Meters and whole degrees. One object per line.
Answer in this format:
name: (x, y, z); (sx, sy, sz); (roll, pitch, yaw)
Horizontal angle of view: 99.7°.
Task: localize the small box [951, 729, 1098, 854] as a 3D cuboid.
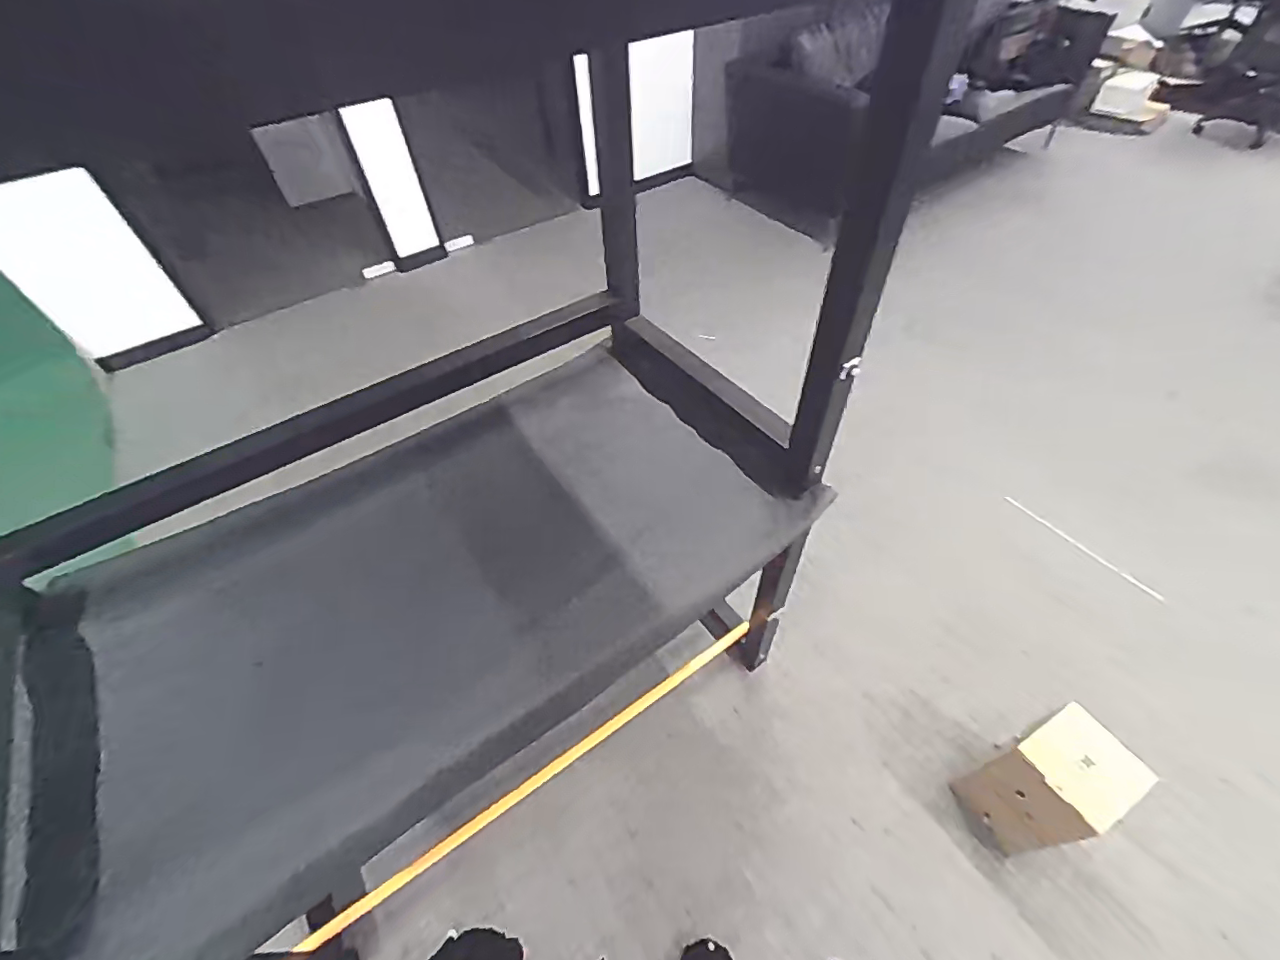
small box: (0.833, 0.688, 1.193); (0.179, 0.176, 0.168); (-25, 52, -16)
